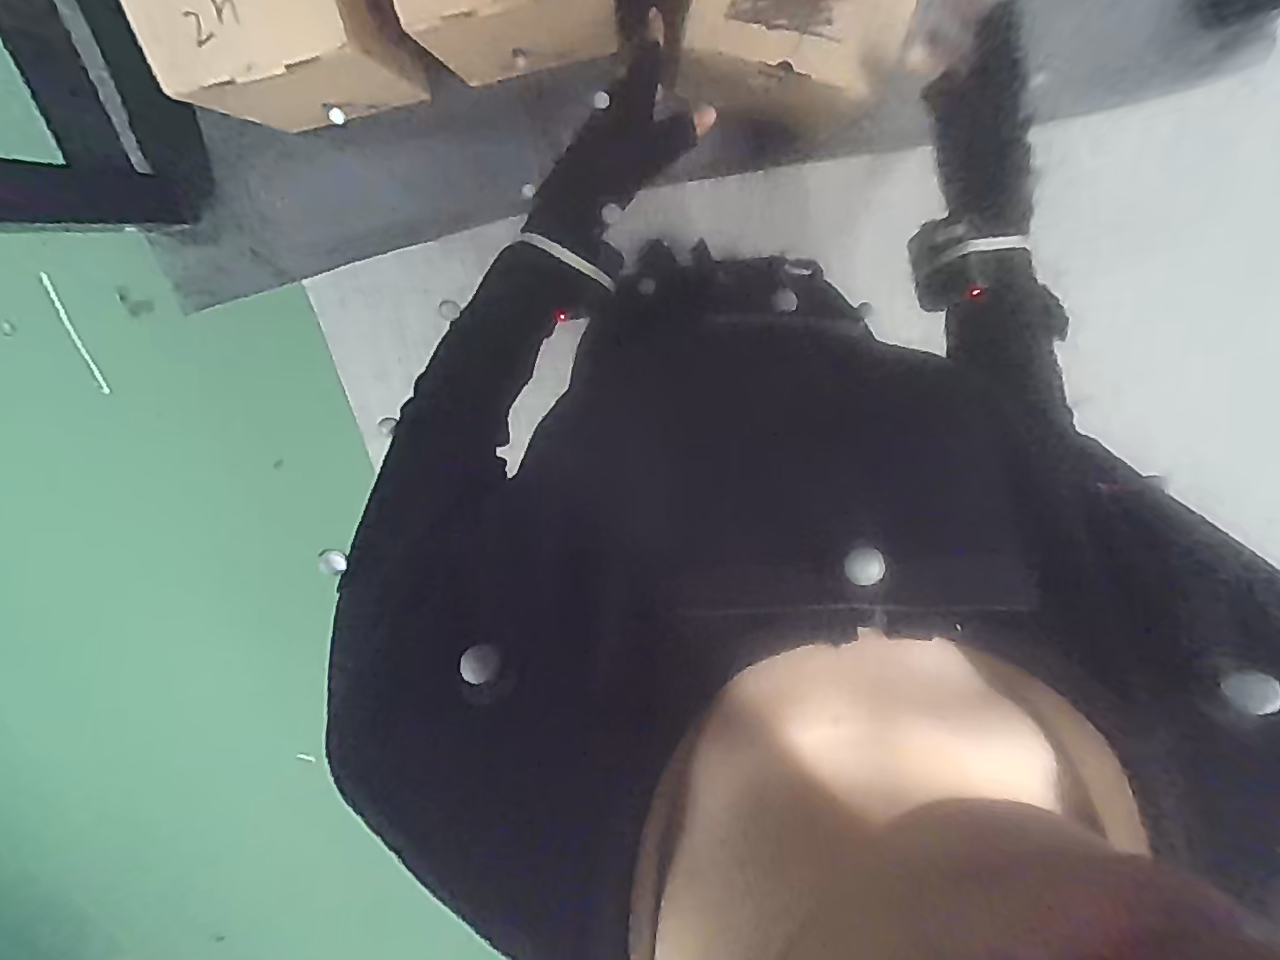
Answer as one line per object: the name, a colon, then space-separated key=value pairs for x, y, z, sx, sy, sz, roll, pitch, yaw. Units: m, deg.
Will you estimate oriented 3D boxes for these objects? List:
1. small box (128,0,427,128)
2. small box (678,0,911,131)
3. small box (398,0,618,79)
small box: x=-0.316 y=-0.439 z=0.472 sx=0.168 sy=0.176 sz=0.179 roll=-10 pitch=113 yaw=6
small box: x=0.133 y=-0.429 z=0.464 sx=0.168 sy=0.176 sz=0.179 roll=13 pitch=112 yaw=-4
small box: x=-0.117 y=-0.476 z=0.453 sx=0.168 sy=0.176 sz=0.179 roll=-9 pitch=114 yaw=6
